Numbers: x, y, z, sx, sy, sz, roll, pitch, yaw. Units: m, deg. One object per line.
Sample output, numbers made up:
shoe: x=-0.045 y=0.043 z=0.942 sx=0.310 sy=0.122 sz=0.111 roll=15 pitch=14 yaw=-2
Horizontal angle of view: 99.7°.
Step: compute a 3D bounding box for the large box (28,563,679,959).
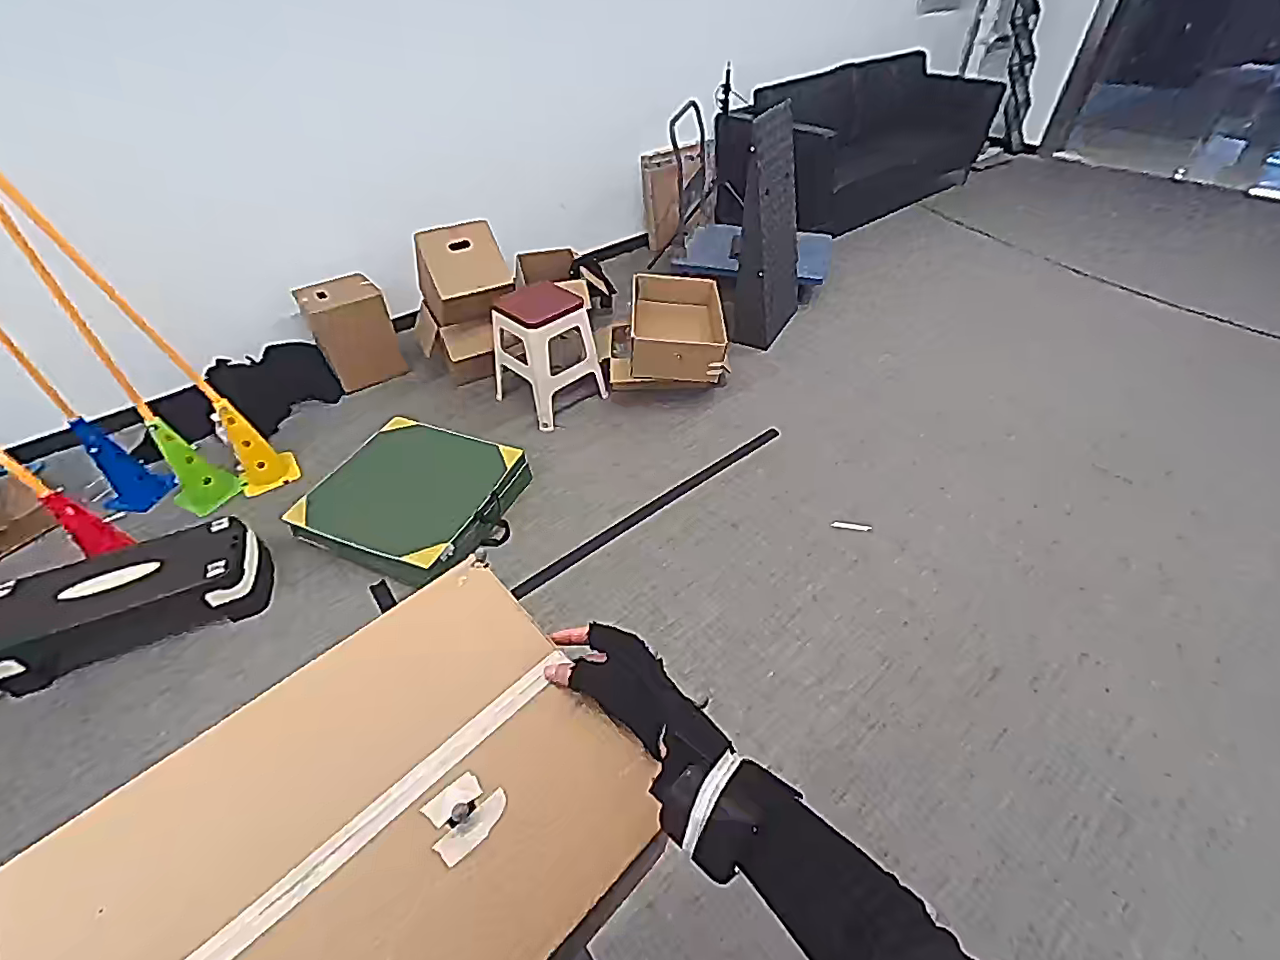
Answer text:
large box: x=-0.216 y=0.372 z=0.537 sx=0.408 sy=0.320 sz=0.320 roll=-35 pitch=59 yaw=-29
